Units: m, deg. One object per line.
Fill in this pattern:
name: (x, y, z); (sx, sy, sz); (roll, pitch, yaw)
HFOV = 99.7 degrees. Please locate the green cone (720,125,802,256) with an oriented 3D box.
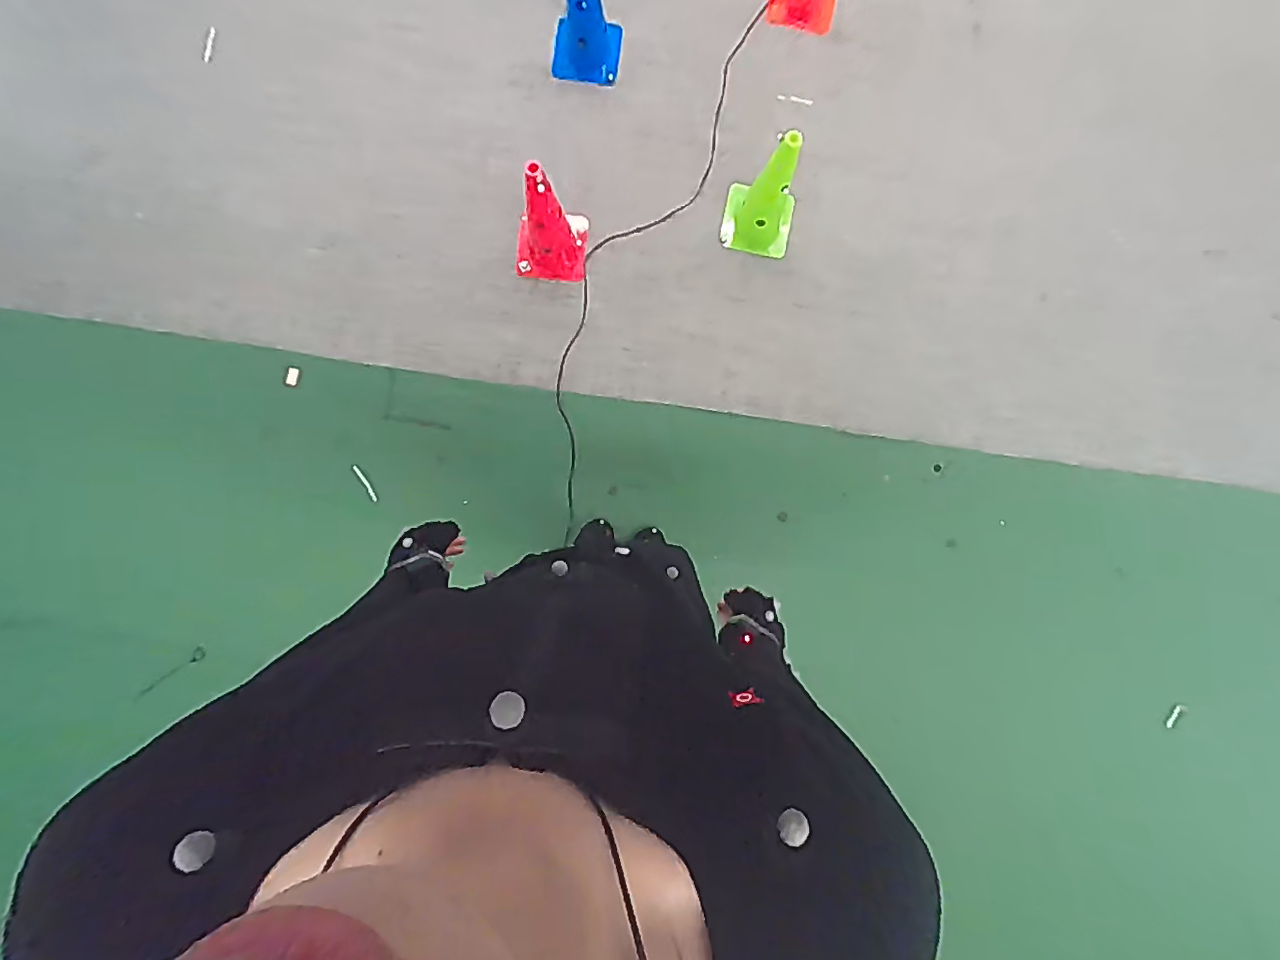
green cone: (0.354, -0.786, 1.434); (0.200, 0.368, 0.202); (10, 84, -1)

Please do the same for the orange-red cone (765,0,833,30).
orange-red cone: (0.499, -1.501, 1.495); (0.198, 0.360, 0.199); (13, 87, 0)
